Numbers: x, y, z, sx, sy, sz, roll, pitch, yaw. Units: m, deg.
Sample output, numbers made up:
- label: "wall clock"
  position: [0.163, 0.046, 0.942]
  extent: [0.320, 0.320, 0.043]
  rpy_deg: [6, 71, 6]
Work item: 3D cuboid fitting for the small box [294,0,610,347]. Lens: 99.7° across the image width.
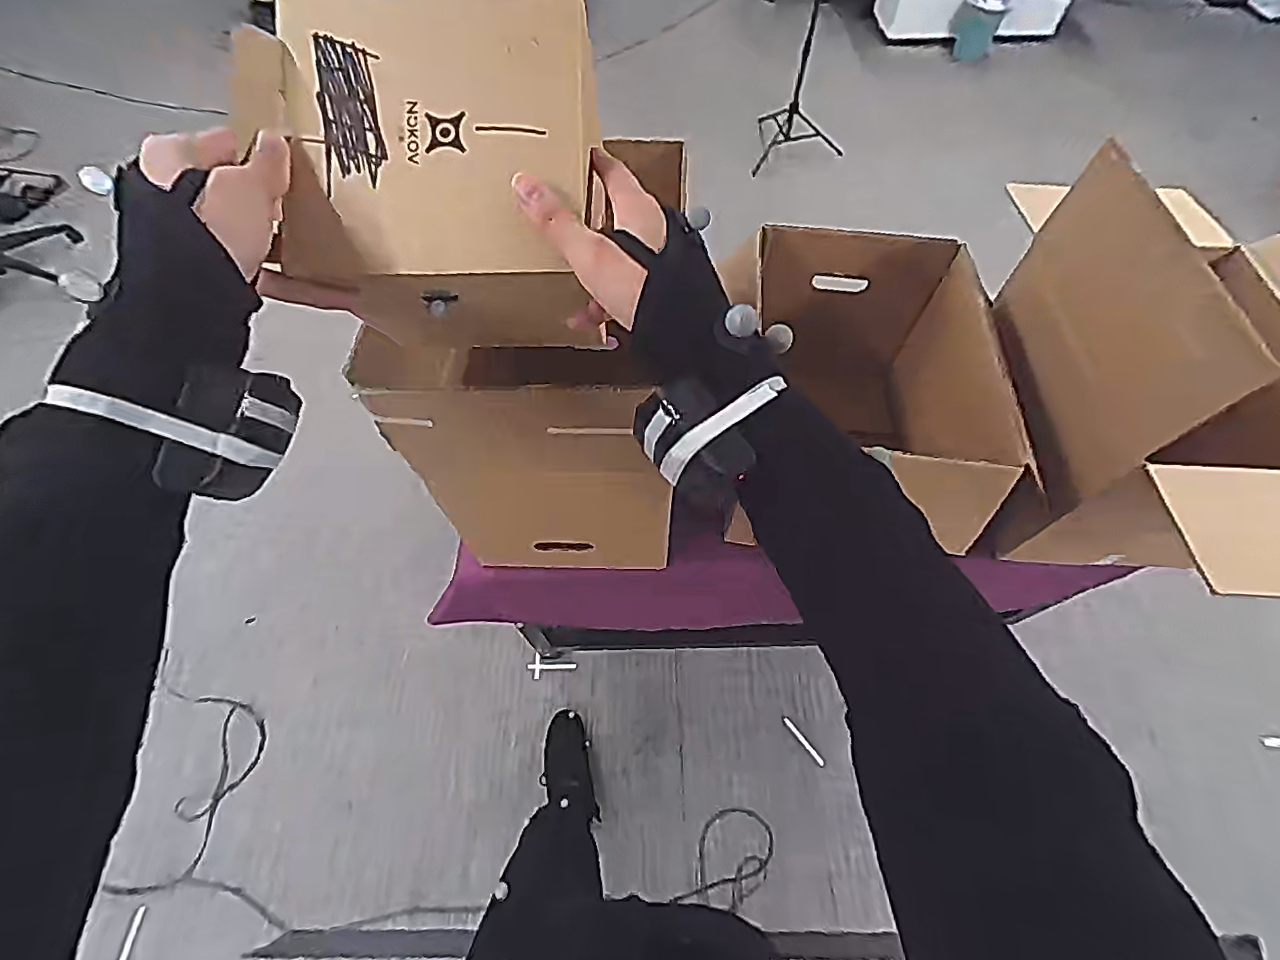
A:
- label: "small box"
  position: [-0.115, -0.199, 0.398]
  extent: [0.179, 0.176, 0.168]
  rpy_deg: [0, 89, 0]
